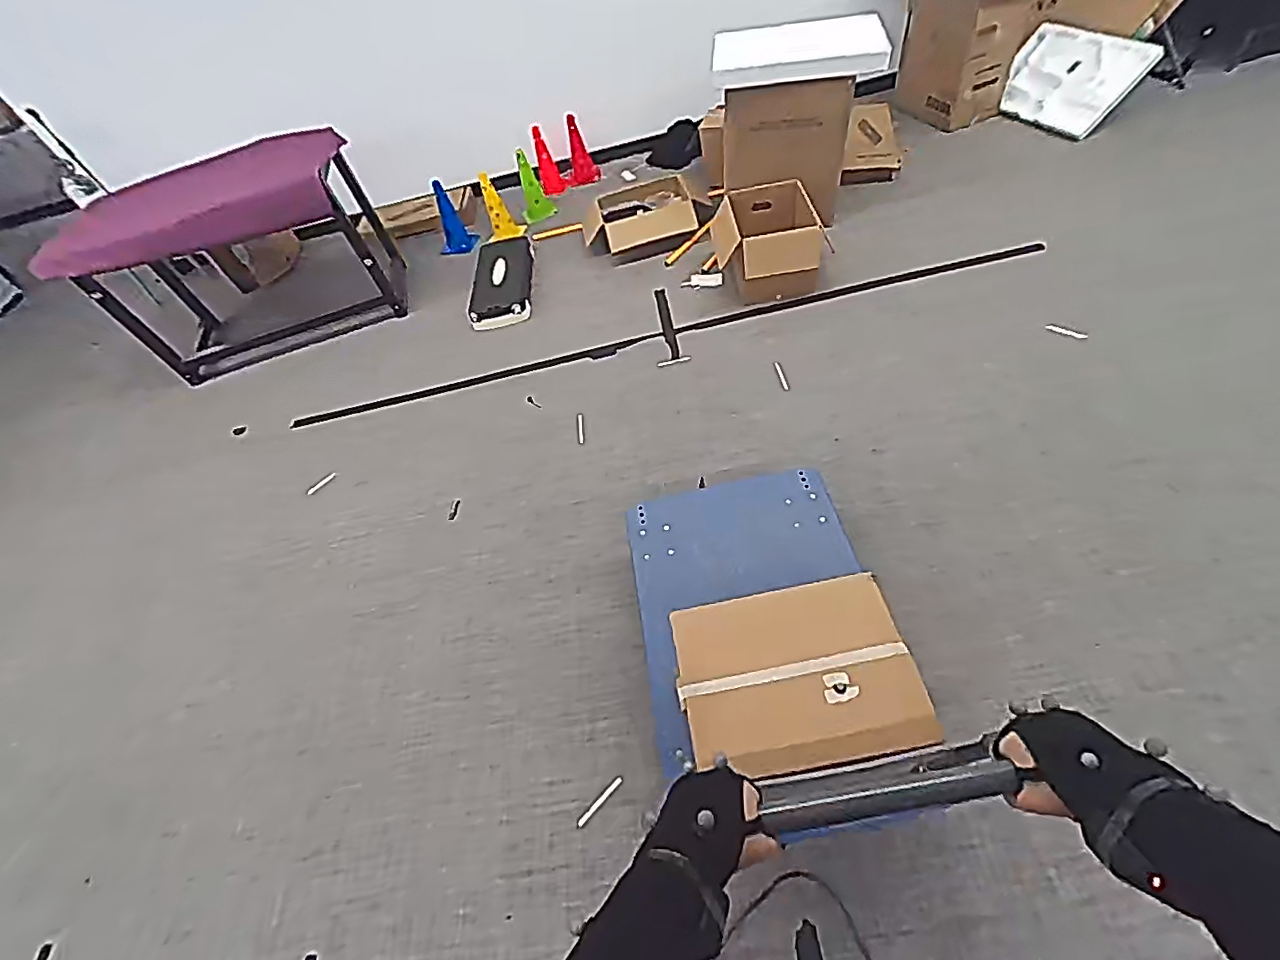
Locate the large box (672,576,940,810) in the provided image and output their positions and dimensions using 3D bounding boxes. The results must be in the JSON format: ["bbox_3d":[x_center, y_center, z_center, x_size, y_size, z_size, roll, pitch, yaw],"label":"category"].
[{"bbox_3d":[0.302,0.441,1.100,0.408,0.320,0.320,-12,52,2],"label":"large box"}]
